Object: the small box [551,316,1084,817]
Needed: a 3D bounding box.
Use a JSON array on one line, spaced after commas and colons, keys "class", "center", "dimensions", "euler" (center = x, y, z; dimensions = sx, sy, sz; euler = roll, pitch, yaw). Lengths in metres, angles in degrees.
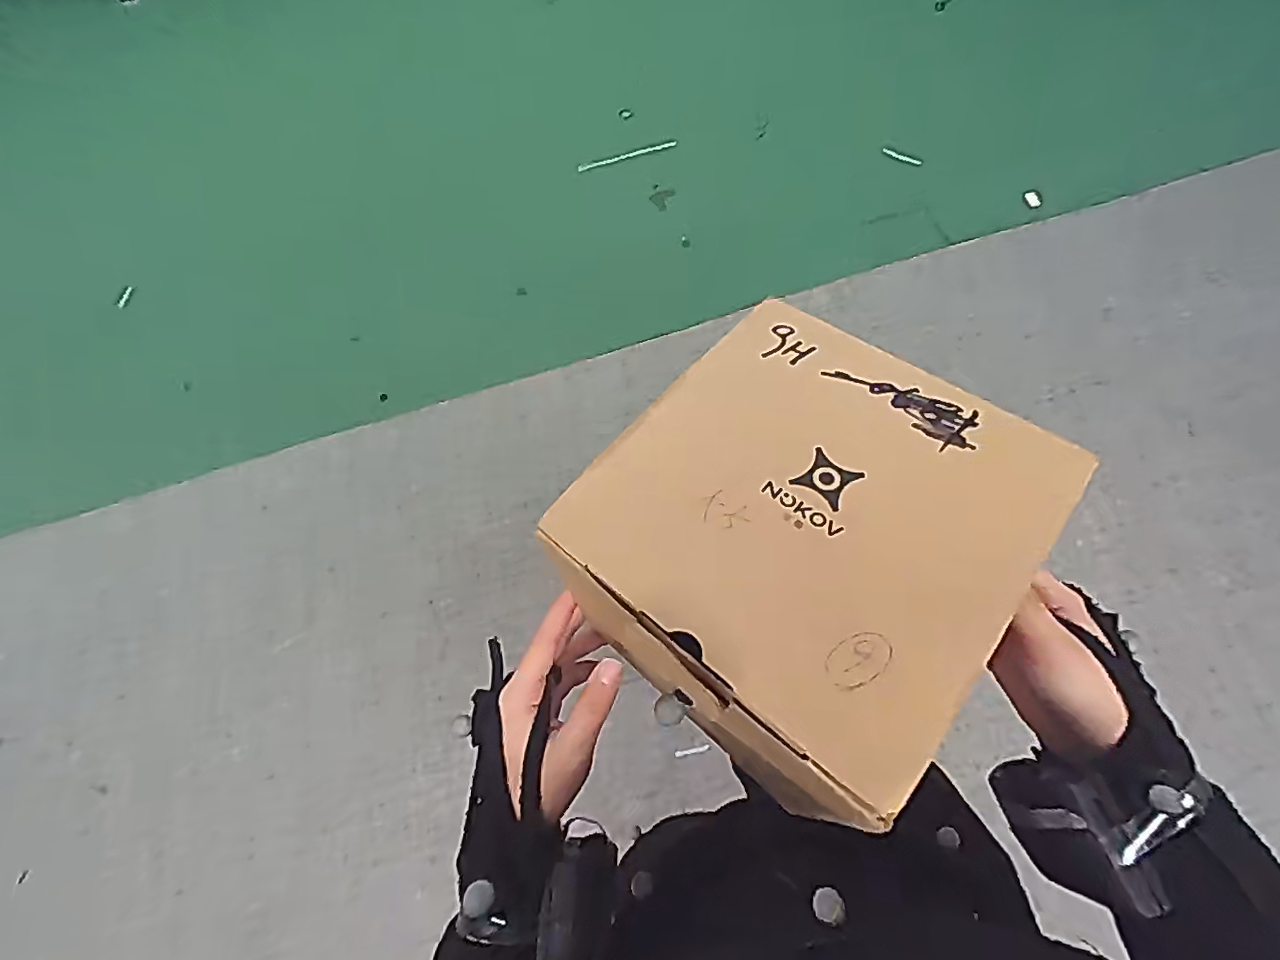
[{"class": "small box", "center": [0.083, 0.052, 0.305], "dimensions": [0.168, 0.176, 0.179], "euler": [36, 69, 23]}]
